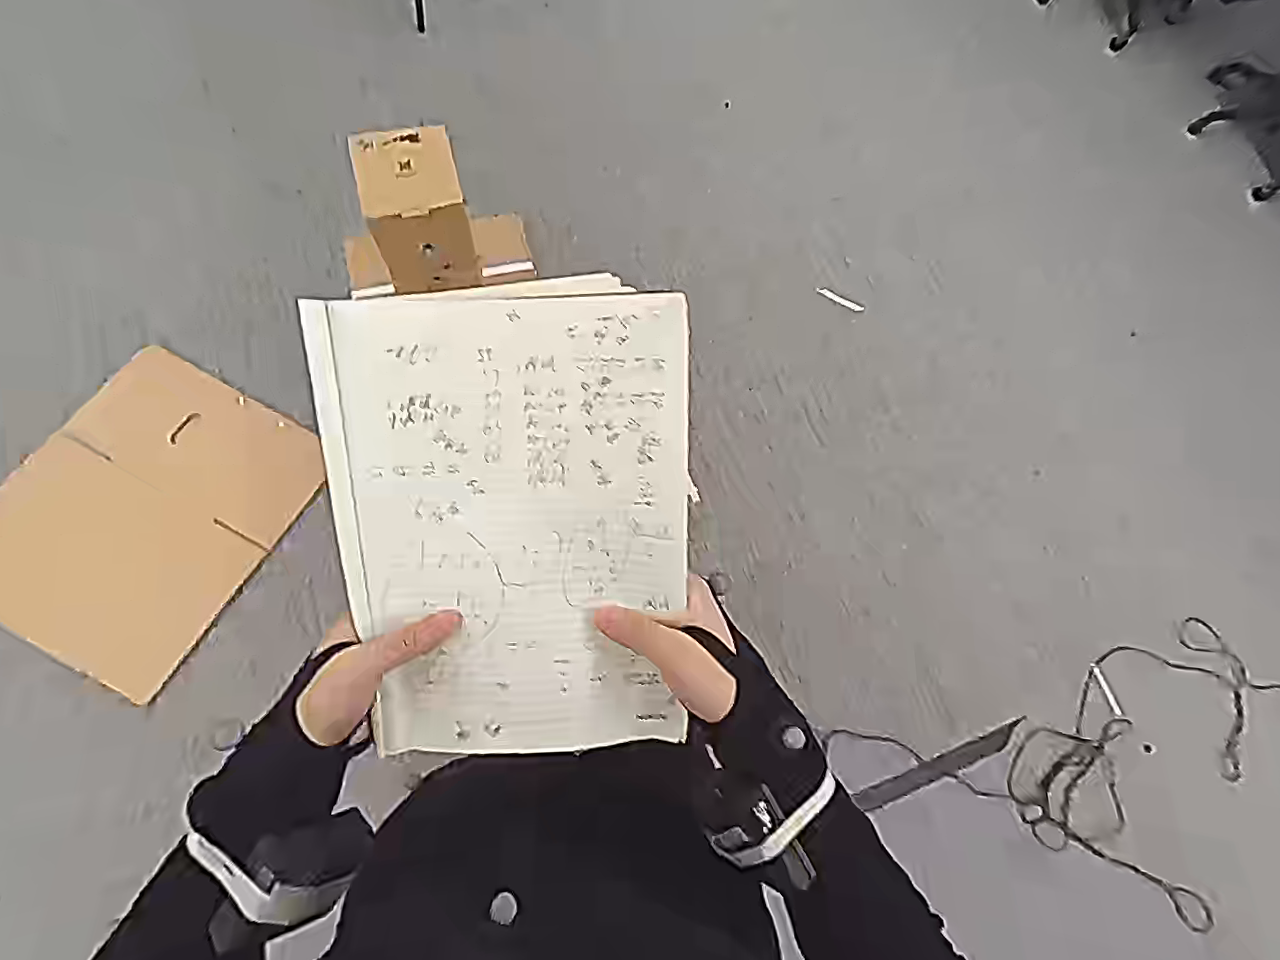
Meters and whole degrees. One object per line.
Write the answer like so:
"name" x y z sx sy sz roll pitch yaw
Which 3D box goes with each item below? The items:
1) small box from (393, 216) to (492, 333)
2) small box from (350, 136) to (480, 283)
"small box" -0.419 -0.430 1.149 0.168 0.176 0.179 -12 75 -10
"small box" -0.404 -0.485 0.995 0.168 0.176 0.179 -15 77 -11
